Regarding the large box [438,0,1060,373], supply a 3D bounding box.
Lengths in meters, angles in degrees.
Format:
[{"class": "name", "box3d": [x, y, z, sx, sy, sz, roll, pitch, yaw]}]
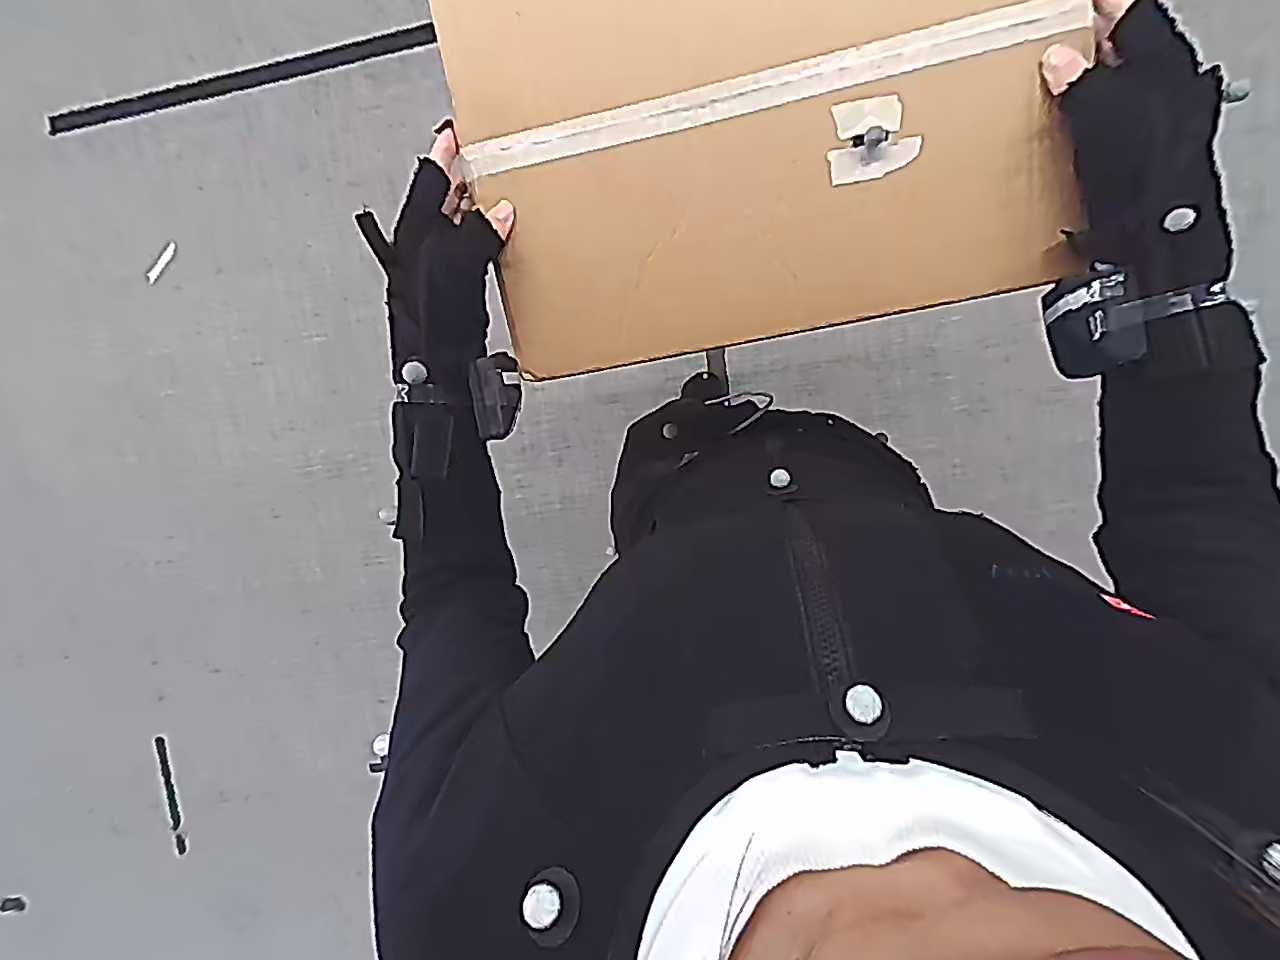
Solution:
[{"class": "large box", "box3d": [0.084, -0.301, 0.516, 0.408, 0.320, 0.320, -10, 105, 6]}]
